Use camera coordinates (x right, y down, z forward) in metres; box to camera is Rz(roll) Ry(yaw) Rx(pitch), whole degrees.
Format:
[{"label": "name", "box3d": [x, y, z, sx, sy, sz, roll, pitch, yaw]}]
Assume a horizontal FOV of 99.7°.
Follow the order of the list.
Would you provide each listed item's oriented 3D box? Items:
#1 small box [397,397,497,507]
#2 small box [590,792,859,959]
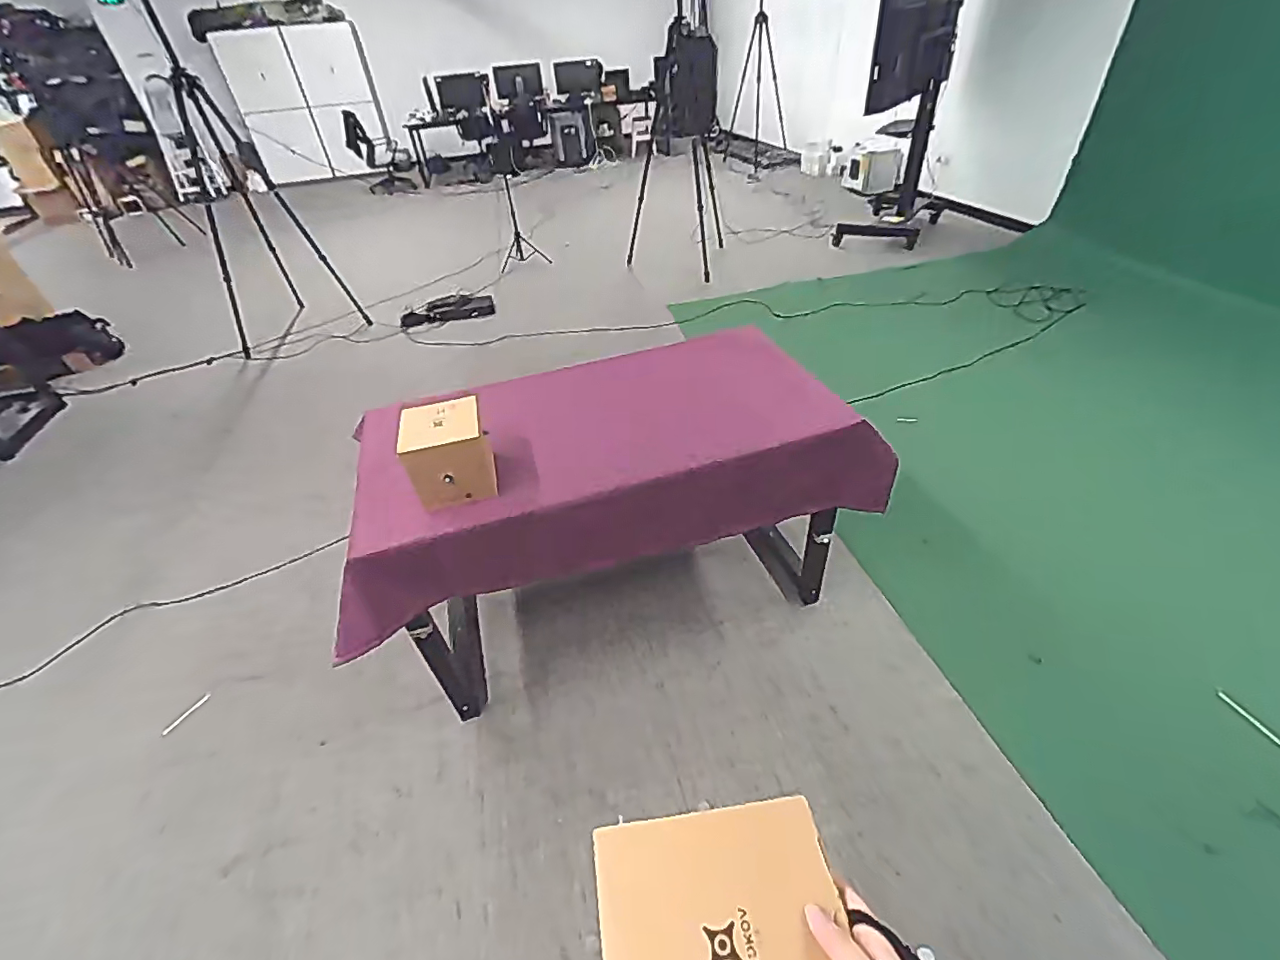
[{"label": "small box", "box3d": [-0.421, -0.057, 1.201, 0.168, 0.176, 0.179, -13, 40, -9]}, {"label": "small box", "box3d": [0.058, 0.375, 0.424, 0.179, 0.176, 0.168, -5, 43, -7]}]
